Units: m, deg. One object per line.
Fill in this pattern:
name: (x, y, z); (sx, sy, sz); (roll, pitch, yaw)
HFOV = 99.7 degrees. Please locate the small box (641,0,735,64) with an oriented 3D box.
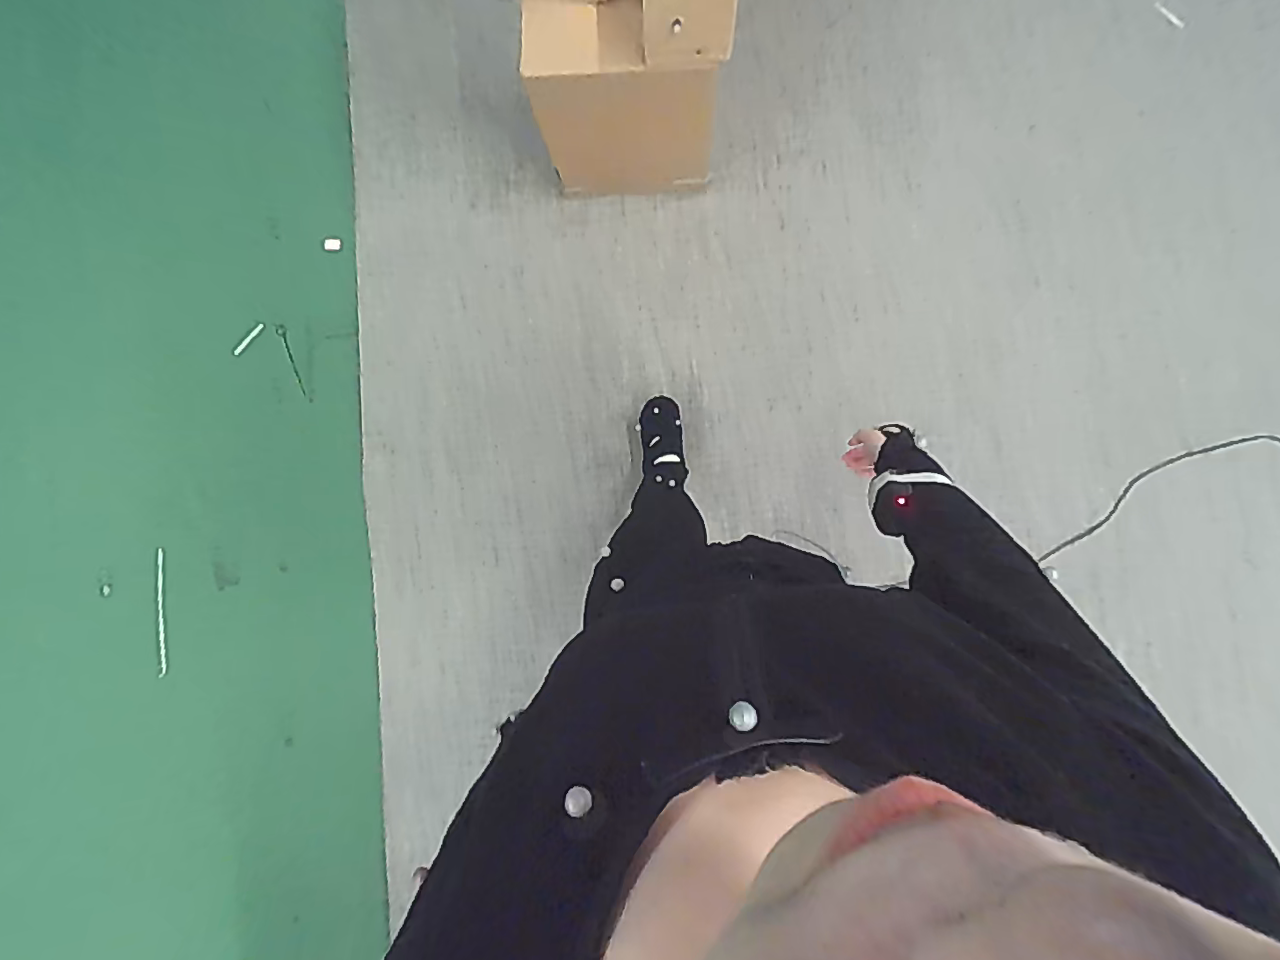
small box: (0.087, -0.904, 0.992); (0.168, 0.176, 0.179); (-2, 87, 4)

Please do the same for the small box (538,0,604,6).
small box: (-0.147, -1.046, 1.017); (0.179, 0.176, 0.168); (6, 88, 3)
